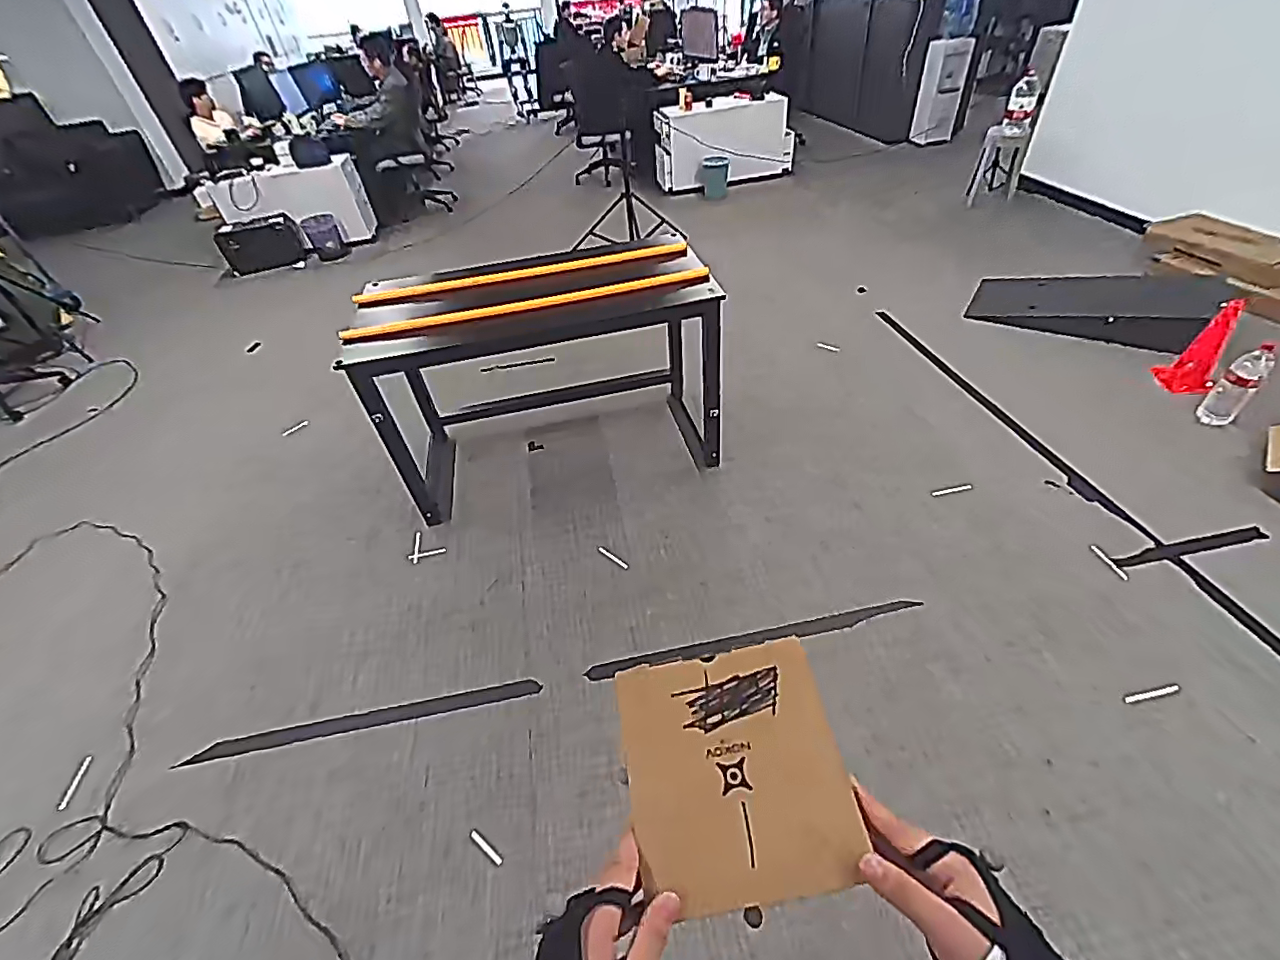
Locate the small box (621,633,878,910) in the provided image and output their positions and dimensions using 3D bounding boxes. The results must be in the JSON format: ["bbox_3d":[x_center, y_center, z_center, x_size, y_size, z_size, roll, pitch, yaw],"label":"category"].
[{"bbox_3d":[0.083,0.264,0.488,0.168,0.176,0.179,-11,53,0],"label":"small box"}]
